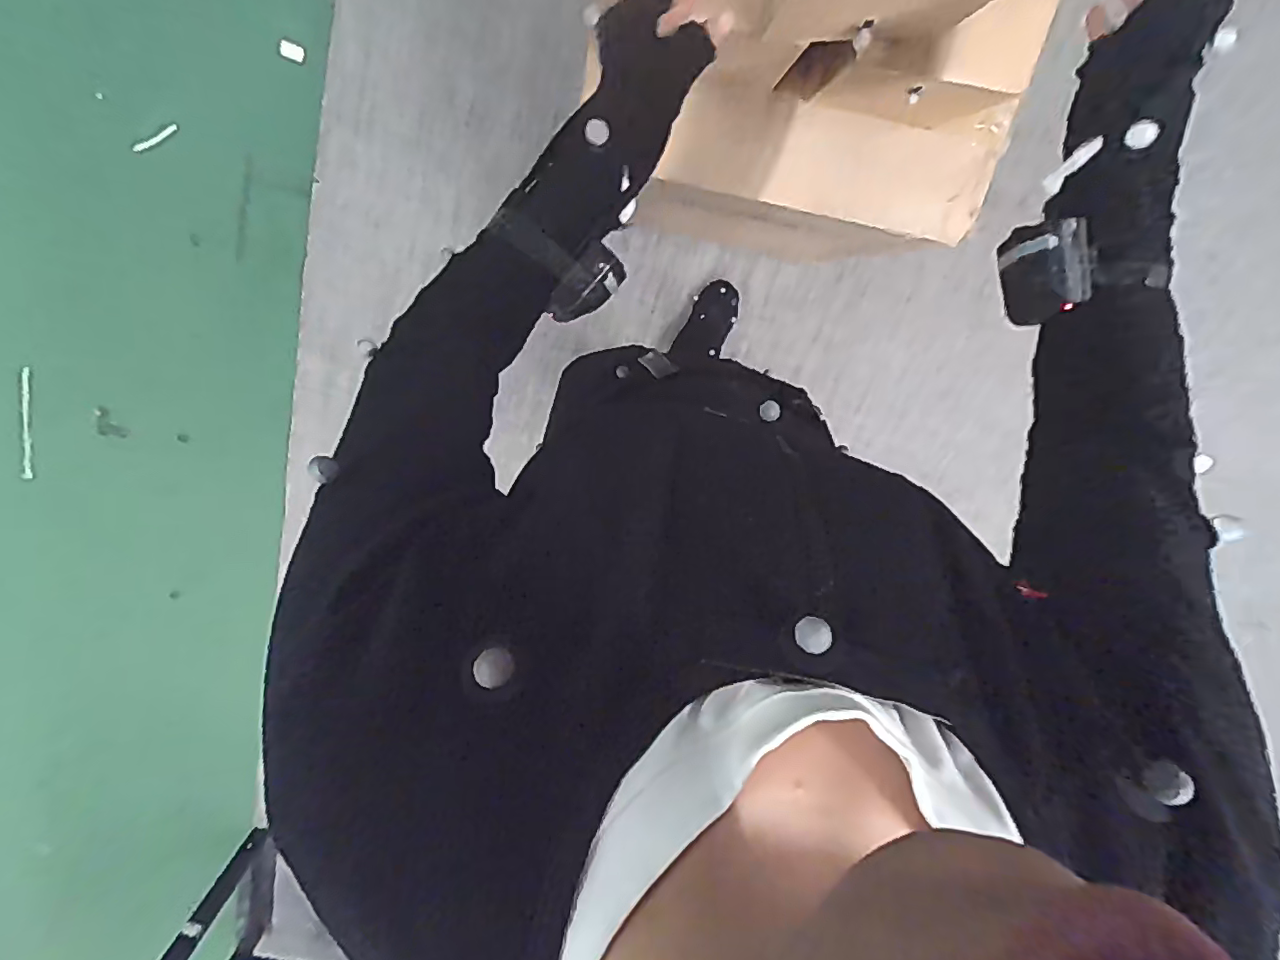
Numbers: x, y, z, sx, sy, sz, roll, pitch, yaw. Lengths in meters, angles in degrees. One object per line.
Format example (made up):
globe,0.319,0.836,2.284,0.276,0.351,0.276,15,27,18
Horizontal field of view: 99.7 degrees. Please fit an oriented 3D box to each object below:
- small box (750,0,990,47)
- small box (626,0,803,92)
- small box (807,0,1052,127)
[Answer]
small box,0.190,-0.452,0.404,0.179,0.176,0.168,-3,113,-1
small box,0.085,-0.524,0.550,0.179,0.176,0.168,9,113,-5
small box,0.296,-0.491,0.567,0.179,0.176,0.168,7,113,-5
